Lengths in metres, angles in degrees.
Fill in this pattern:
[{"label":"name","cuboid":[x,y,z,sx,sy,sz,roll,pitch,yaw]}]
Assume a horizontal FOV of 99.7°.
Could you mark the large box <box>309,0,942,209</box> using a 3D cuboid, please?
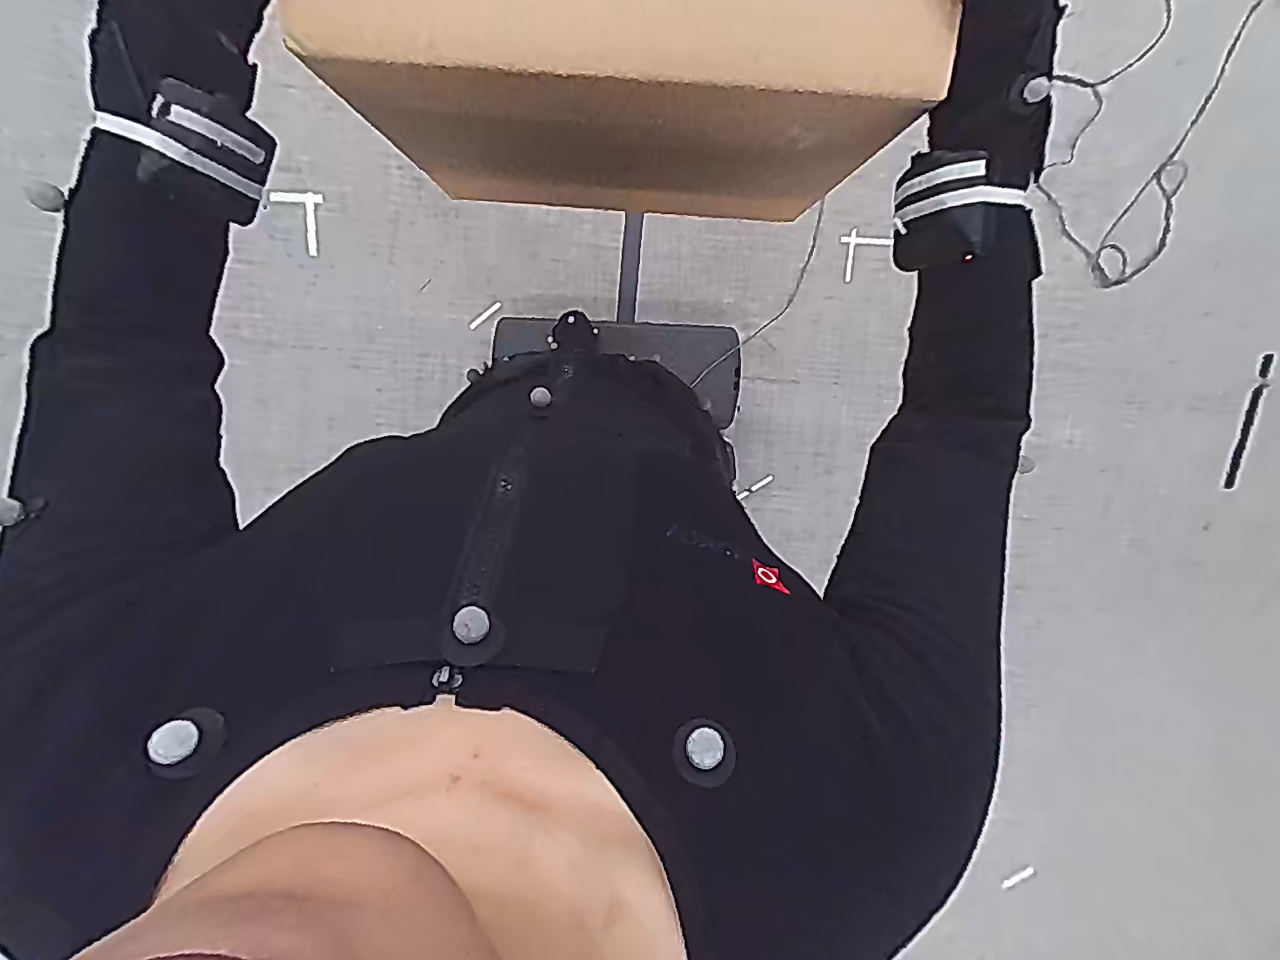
[{"label":"large box","cuboid":[-0.008,-0.443,0.458,0.408,0.320,0.320,2,103,-3]}]
